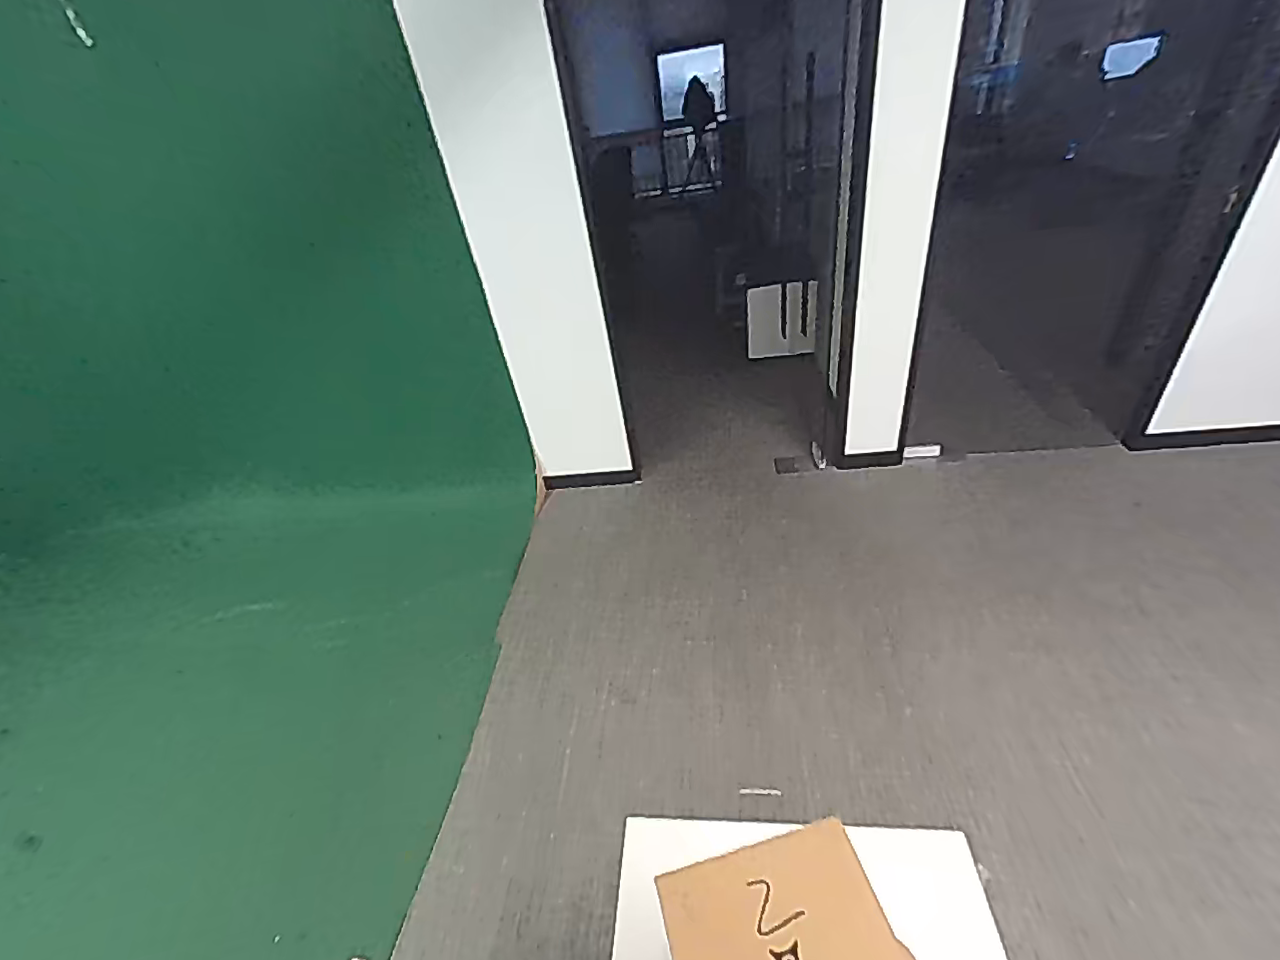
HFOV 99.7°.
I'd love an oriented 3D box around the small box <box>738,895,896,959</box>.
[{"bbox_3d":[0.194,0.594,0.589,0.168,0.176,0.179,-4,34,10],"label":"small box"}]
